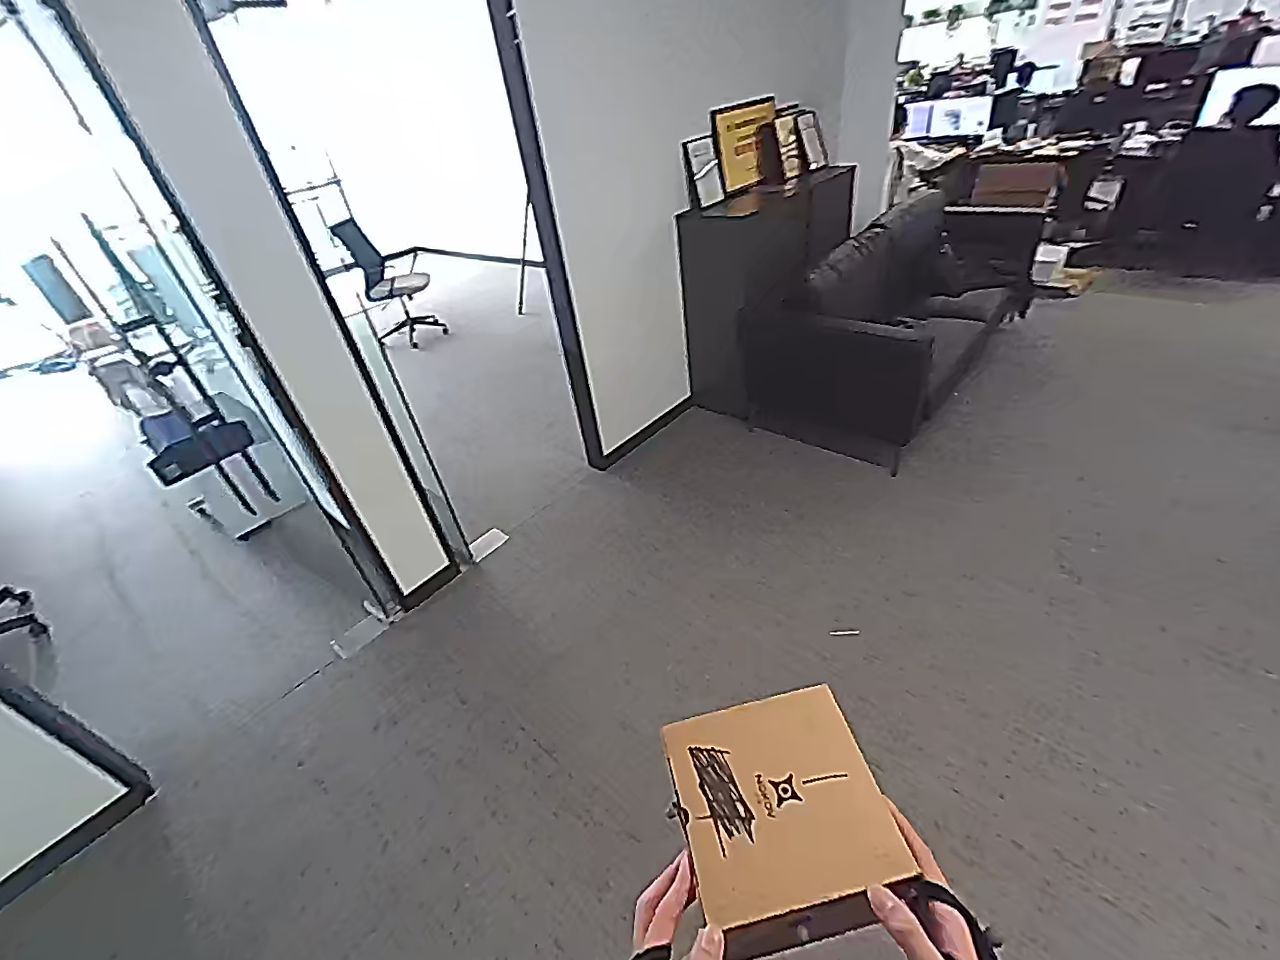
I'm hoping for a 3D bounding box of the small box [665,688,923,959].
[{"bbox_3d":[0.133,0.335,0.521,0.179,0.176,0.168,-12,40,-4],"label":"small box"}]
